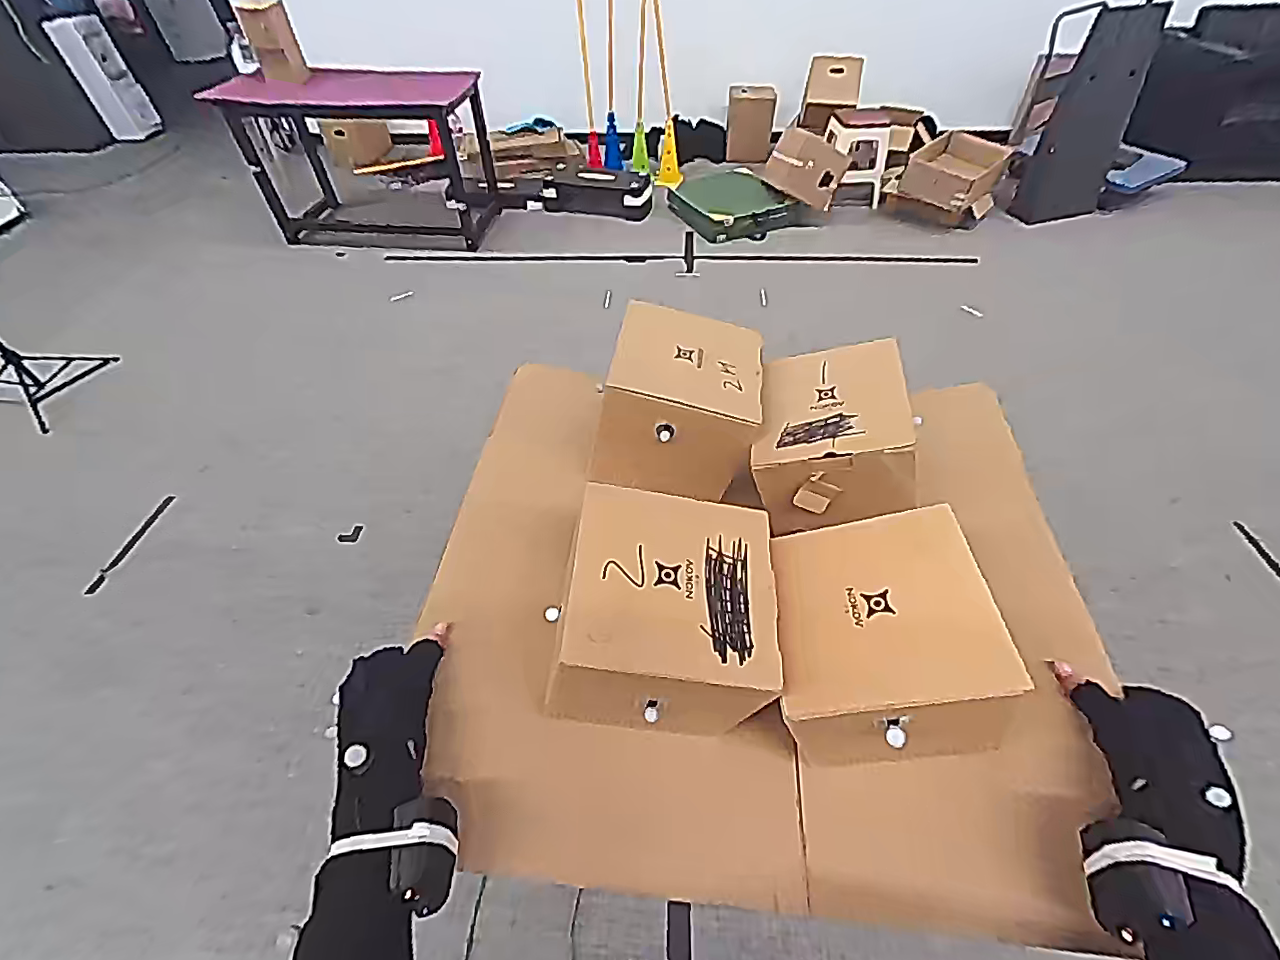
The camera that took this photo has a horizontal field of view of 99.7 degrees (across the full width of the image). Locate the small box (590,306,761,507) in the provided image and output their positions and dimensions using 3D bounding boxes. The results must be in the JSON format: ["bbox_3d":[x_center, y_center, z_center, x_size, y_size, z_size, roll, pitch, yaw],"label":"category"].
[{"bbox_3d":[0.040,-0.086,0.688,0.179,0.176,0.168,14,52,-3],"label":"small box"}]
